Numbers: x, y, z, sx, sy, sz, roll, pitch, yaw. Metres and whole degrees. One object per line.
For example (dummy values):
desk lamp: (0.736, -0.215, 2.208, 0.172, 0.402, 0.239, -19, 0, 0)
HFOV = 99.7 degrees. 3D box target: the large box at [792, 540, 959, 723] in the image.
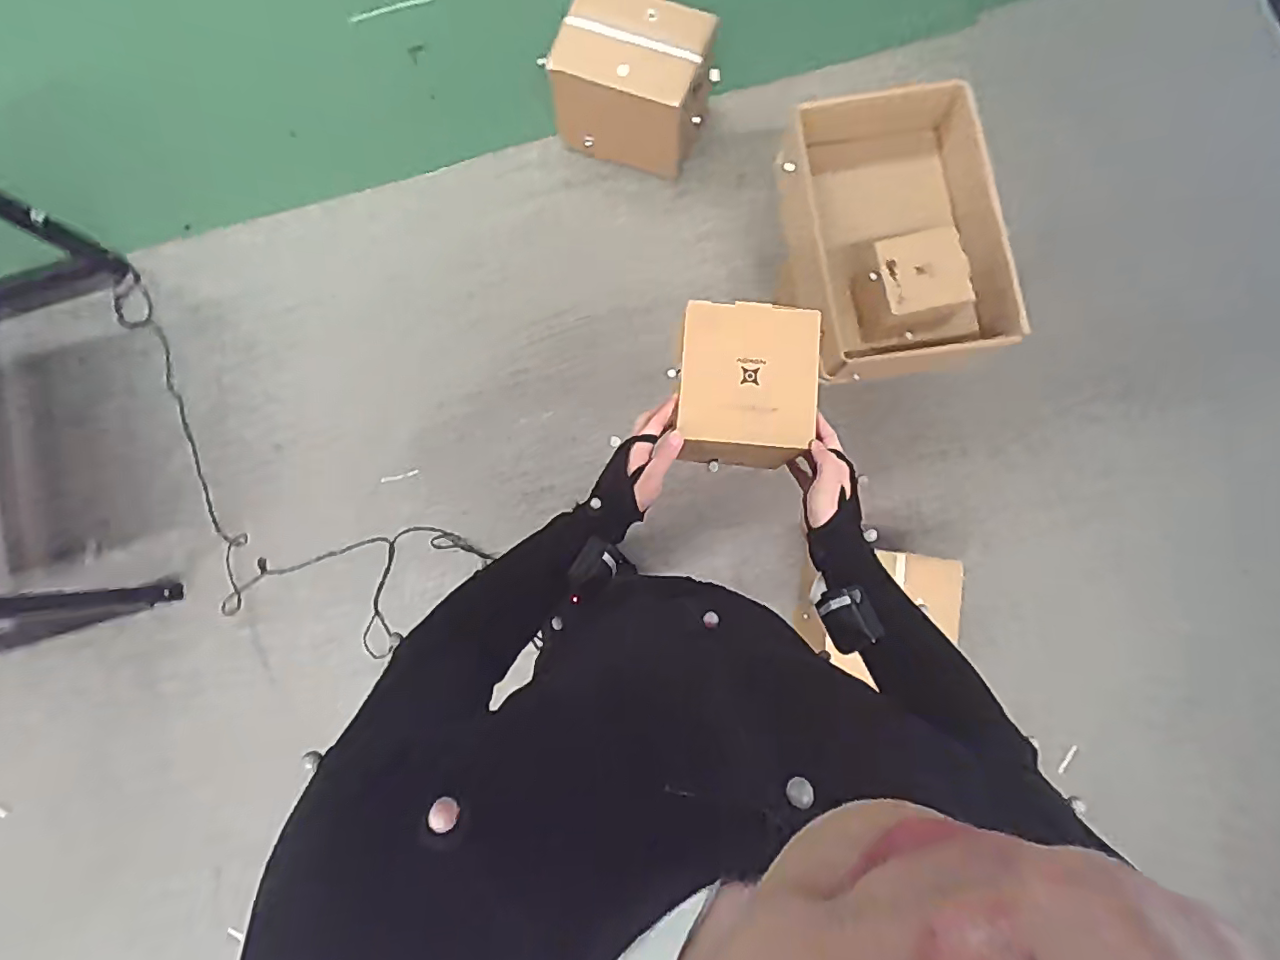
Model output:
large box: (0.612, 0.385, 1.458, 0.320, 0.320, 0.408, 9, 83, 2)

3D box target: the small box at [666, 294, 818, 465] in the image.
small box: (0.125, -0.123, 0.721, 0.168, 0.176, 0.179, 5, 84, -1)
